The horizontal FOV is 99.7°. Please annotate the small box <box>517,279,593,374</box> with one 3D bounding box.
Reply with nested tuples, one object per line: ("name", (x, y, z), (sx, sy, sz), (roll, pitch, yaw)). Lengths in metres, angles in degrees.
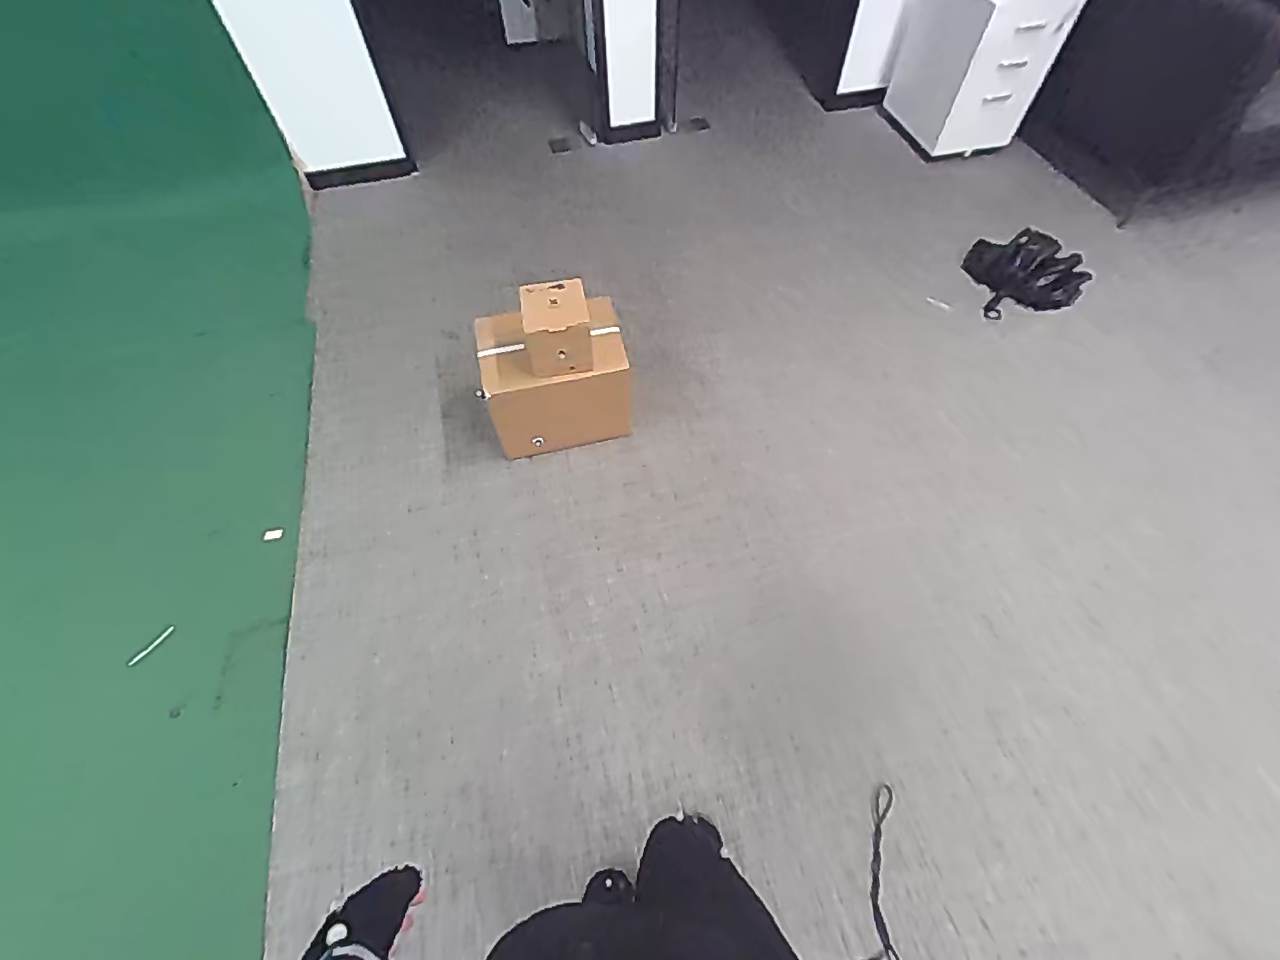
("small box", (-0.224, -0.400, 1.442), (0.168, 0.176, 0.179), (-11, 60, -4))
